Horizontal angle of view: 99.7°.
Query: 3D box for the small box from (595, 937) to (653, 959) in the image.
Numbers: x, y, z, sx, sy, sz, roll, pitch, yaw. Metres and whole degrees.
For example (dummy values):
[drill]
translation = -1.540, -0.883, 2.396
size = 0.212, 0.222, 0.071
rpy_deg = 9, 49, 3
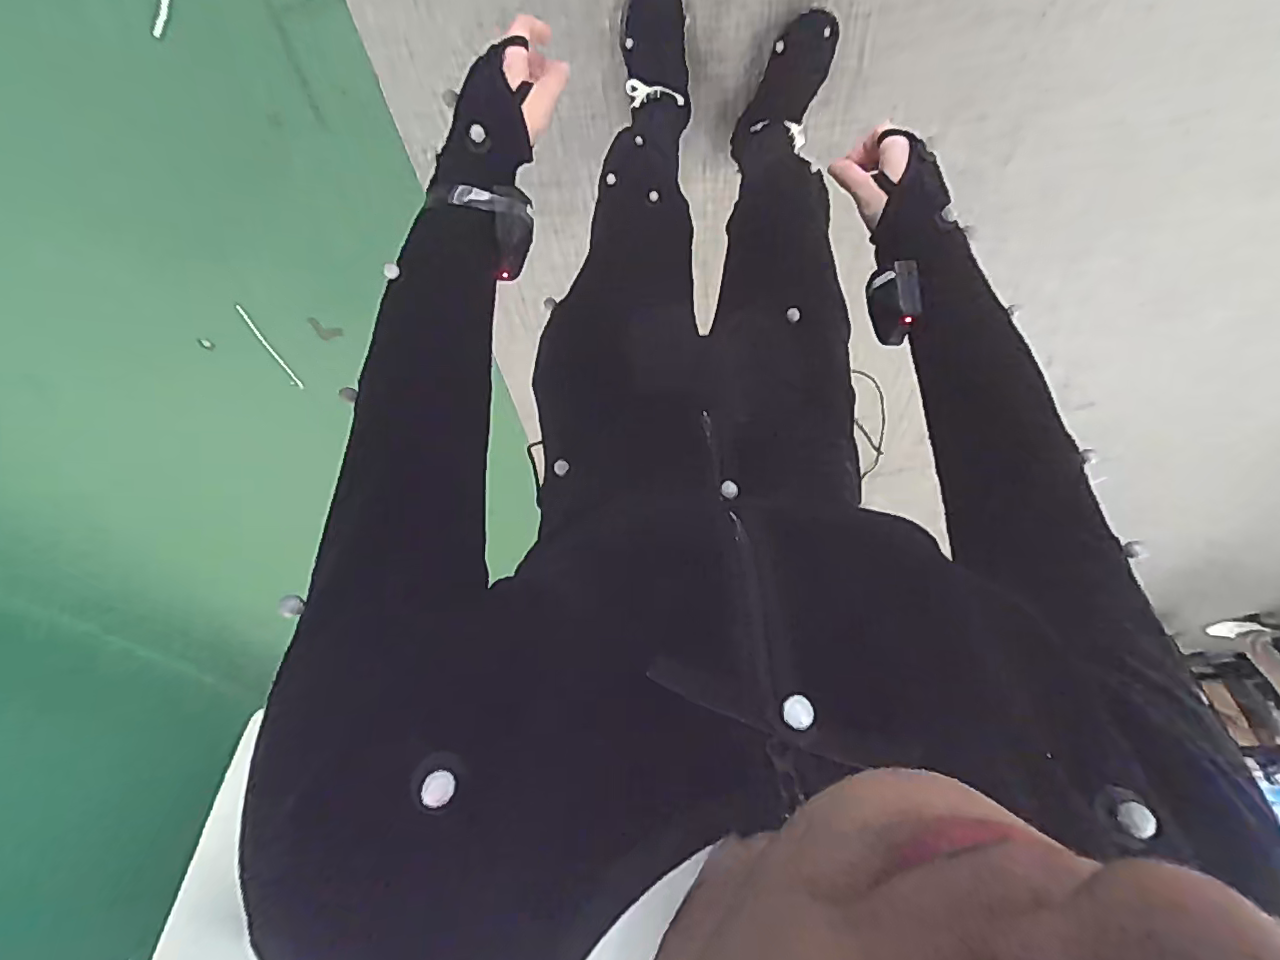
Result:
[small box]
translation = -0.048, 1.590, 1.737
size = 0.179, 0.176, 0.168
rpy_deg = -4, 145, 5
